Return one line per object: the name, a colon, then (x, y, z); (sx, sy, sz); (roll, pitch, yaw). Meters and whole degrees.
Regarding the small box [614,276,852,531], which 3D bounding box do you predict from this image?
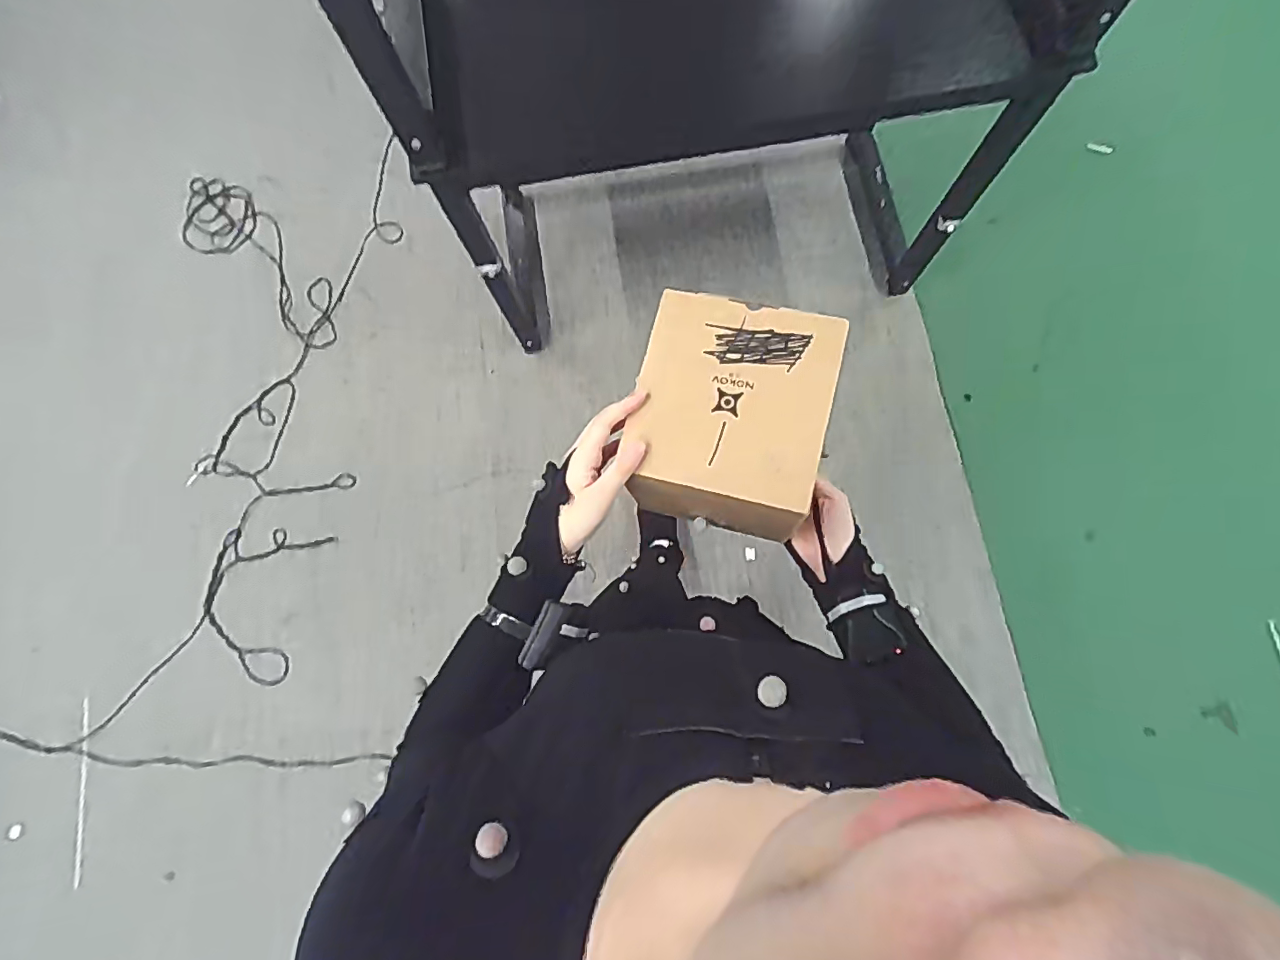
small box: (0.089, -0.063, 0.525); (0.168, 0.176, 0.179); (13, 78, 12)
